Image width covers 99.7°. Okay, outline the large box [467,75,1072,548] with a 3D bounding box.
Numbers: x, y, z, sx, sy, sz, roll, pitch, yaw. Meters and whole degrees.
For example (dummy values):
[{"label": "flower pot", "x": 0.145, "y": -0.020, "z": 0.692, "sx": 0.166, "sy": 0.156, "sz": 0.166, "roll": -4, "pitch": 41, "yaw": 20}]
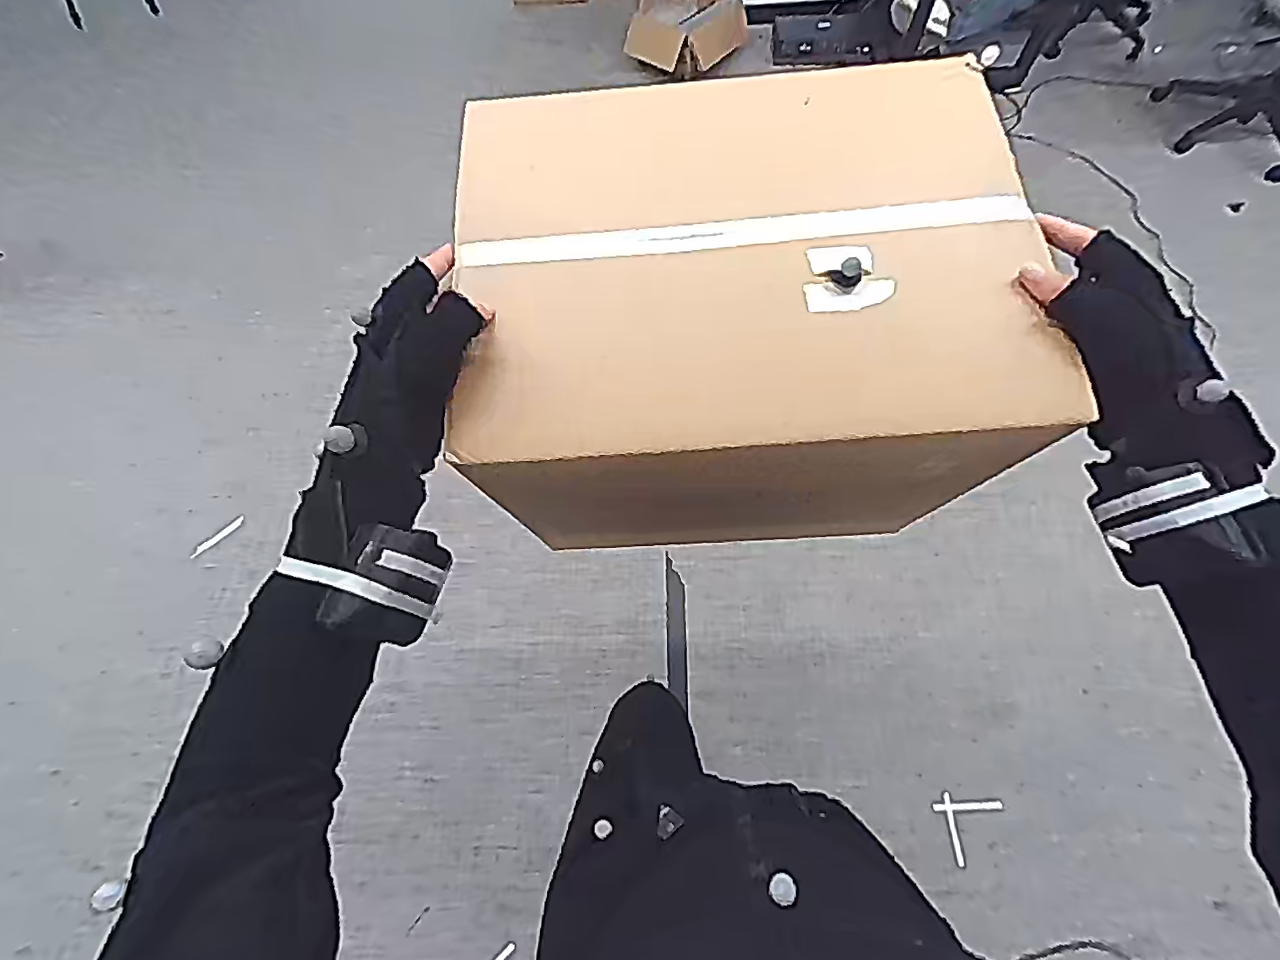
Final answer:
[{"label": "large box", "x": 0.077, "y": -0.125, "z": 0.538, "sx": 0.408, "sy": 0.320, "sz": 0.320, "roll": -4, "pitch": 72, "yaw": 1}]
